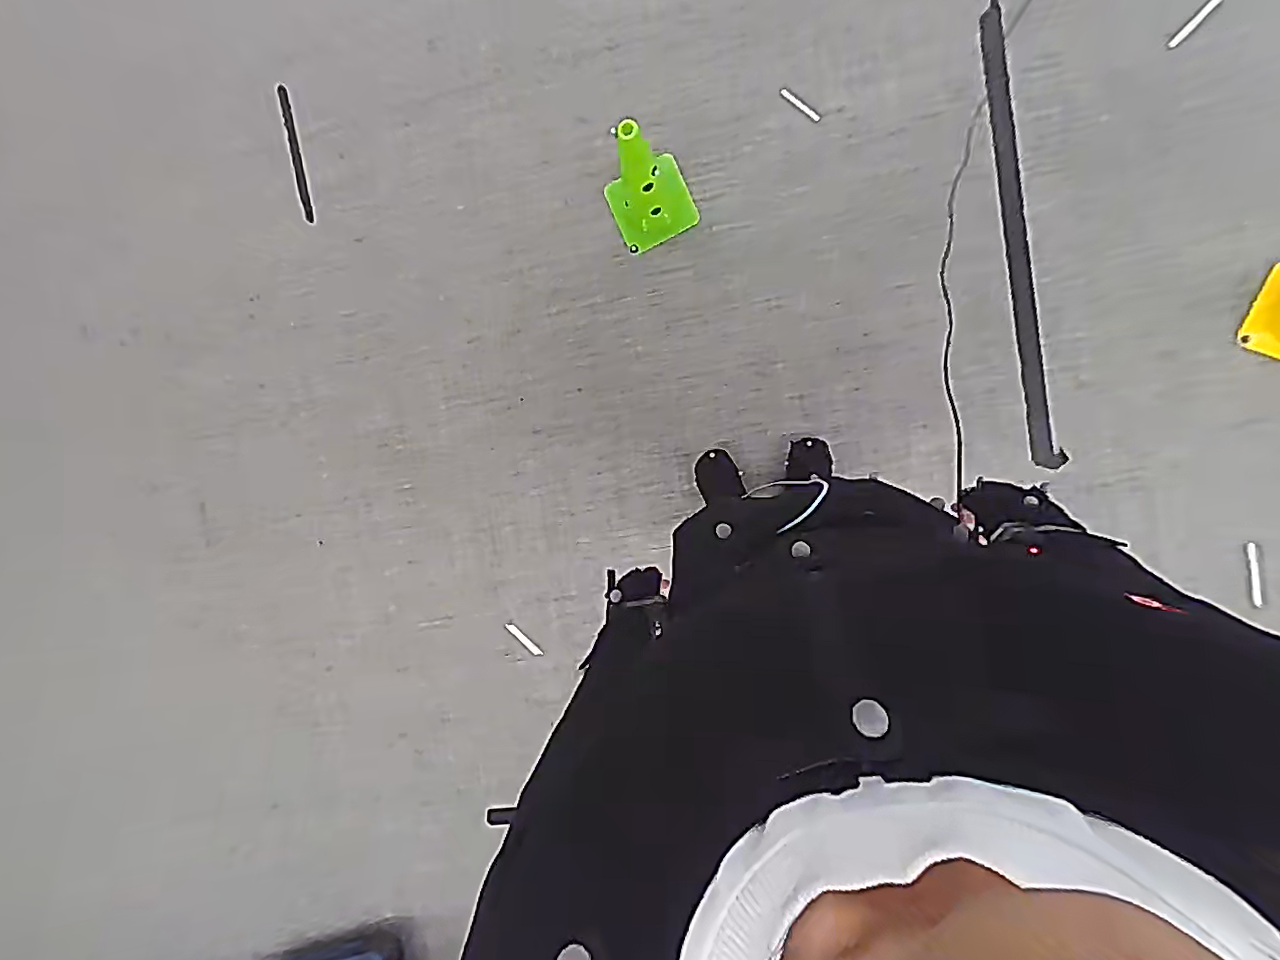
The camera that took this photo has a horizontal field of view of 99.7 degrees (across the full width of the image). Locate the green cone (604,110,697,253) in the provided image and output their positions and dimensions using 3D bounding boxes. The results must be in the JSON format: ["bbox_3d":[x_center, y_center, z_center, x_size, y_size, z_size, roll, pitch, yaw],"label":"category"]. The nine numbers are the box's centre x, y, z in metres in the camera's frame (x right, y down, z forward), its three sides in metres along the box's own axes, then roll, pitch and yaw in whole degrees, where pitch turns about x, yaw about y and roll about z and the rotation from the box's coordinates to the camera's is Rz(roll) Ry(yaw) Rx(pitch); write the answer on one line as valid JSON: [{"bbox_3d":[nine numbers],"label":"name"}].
[{"bbox_3d":[0.001,-0.709,1.234,0.200,0.368,0.202,-25,89,9],"label":"green cone"}]
